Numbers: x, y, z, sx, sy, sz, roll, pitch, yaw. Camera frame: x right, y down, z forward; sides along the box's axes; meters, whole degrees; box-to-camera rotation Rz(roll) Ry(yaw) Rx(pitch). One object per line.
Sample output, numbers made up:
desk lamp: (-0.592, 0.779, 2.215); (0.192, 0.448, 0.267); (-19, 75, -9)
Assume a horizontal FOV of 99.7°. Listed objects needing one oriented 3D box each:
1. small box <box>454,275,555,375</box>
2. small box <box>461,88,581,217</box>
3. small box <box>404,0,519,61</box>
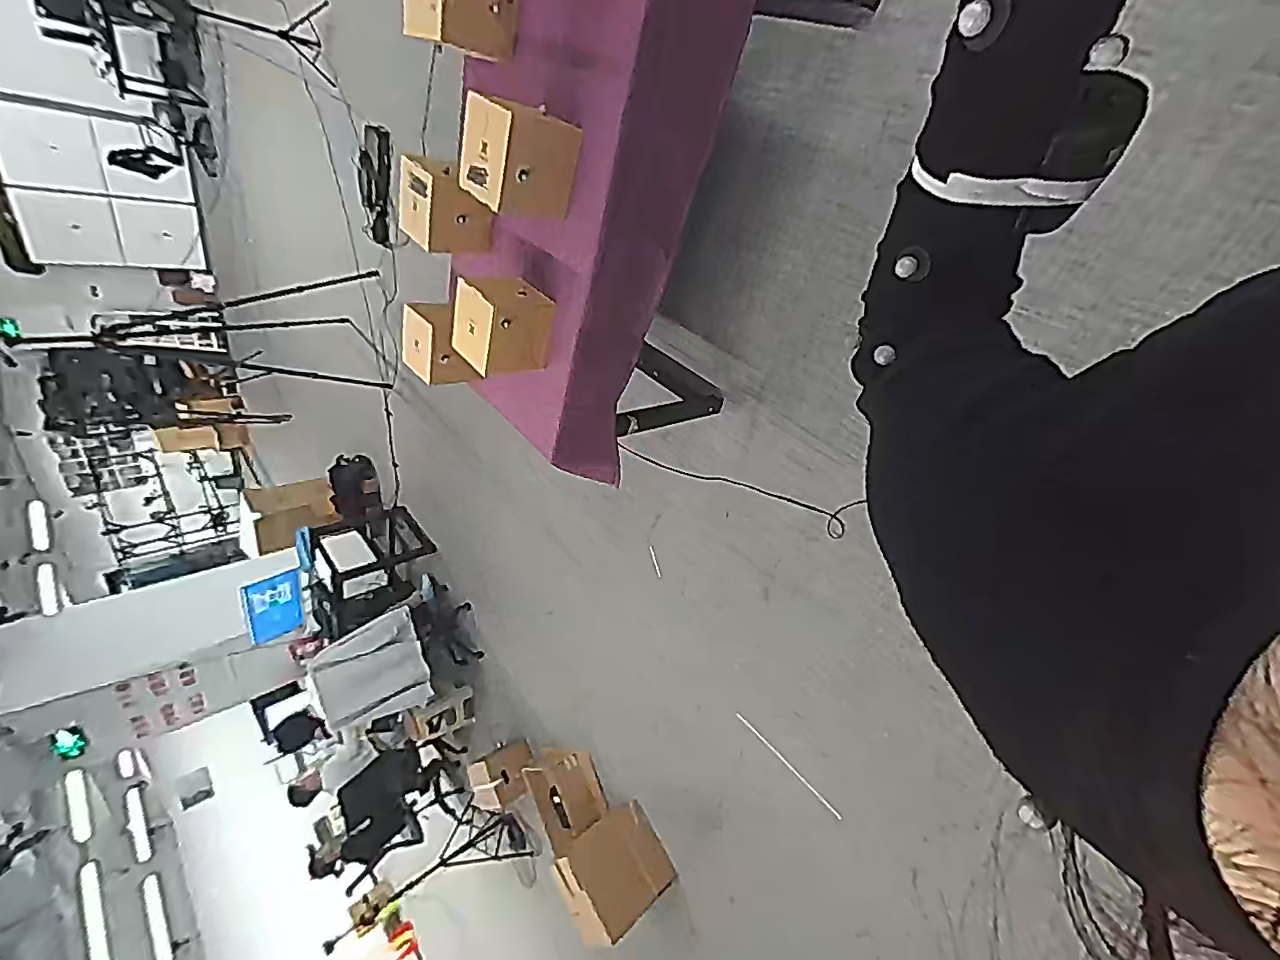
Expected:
small box: (-0.324, -0.372, 1.295); (0.168, 0.176, 0.179); (42, 129, 30)
small box: (-0.244, -0.661, 1.109); (0.168, 0.176, 0.179); (43, 130, 28)
small box: (-0.372, -1.002, 1.127); (0.179, 0.176, 0.168); (38, 129, 32)
